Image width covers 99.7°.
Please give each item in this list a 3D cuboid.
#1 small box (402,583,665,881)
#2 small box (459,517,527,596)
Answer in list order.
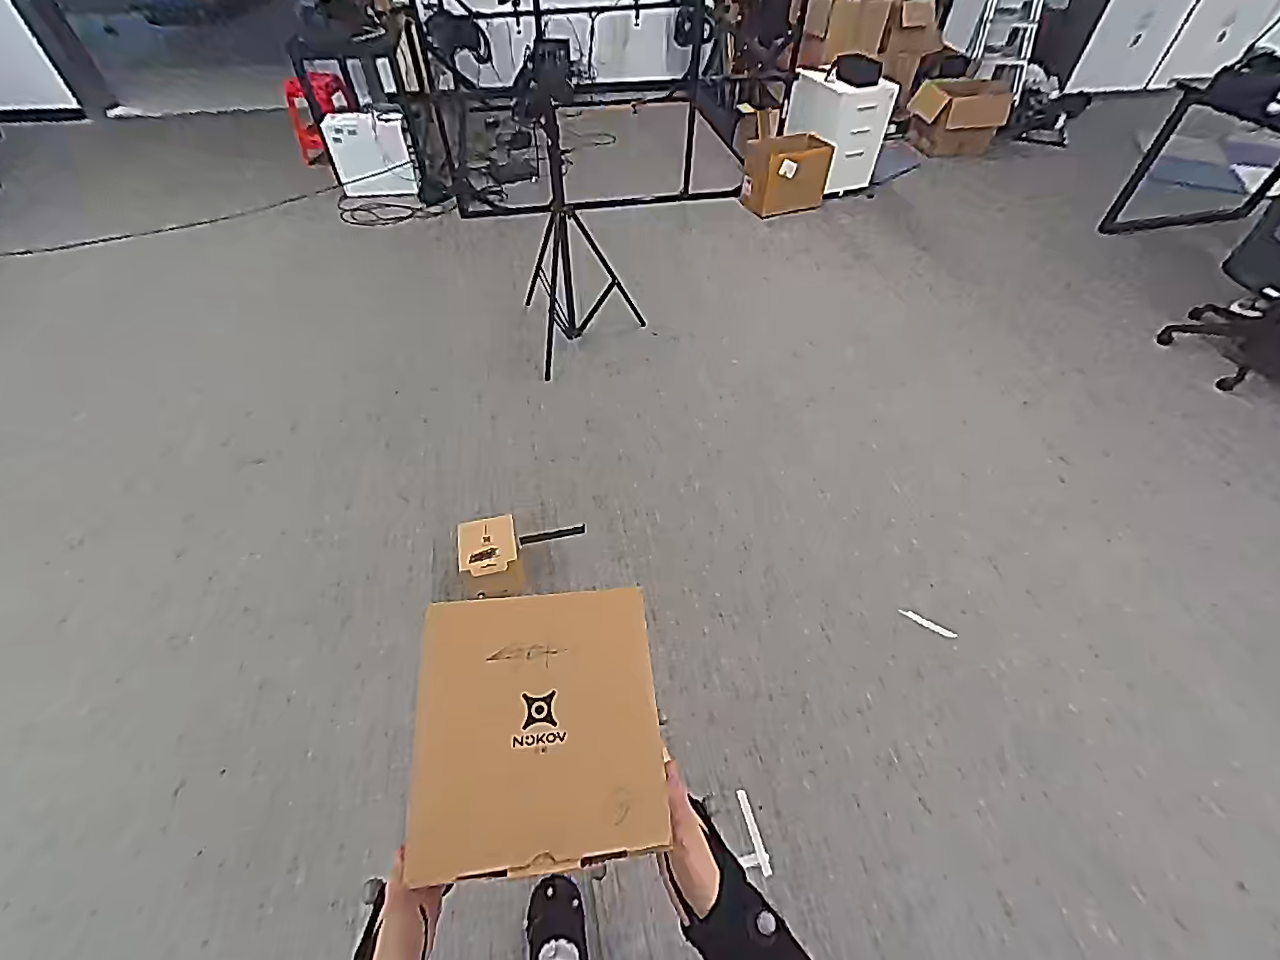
[{"bbox_3d":[-0.082,0.201,0.443,0.168,0.176,0.179,-3,58,-10],"label":"small box"},{"bbox_3d":[-0.445,0.241,1.645,0.168,0.176,0.179,-11,50,-10],"label":"small box"}]
